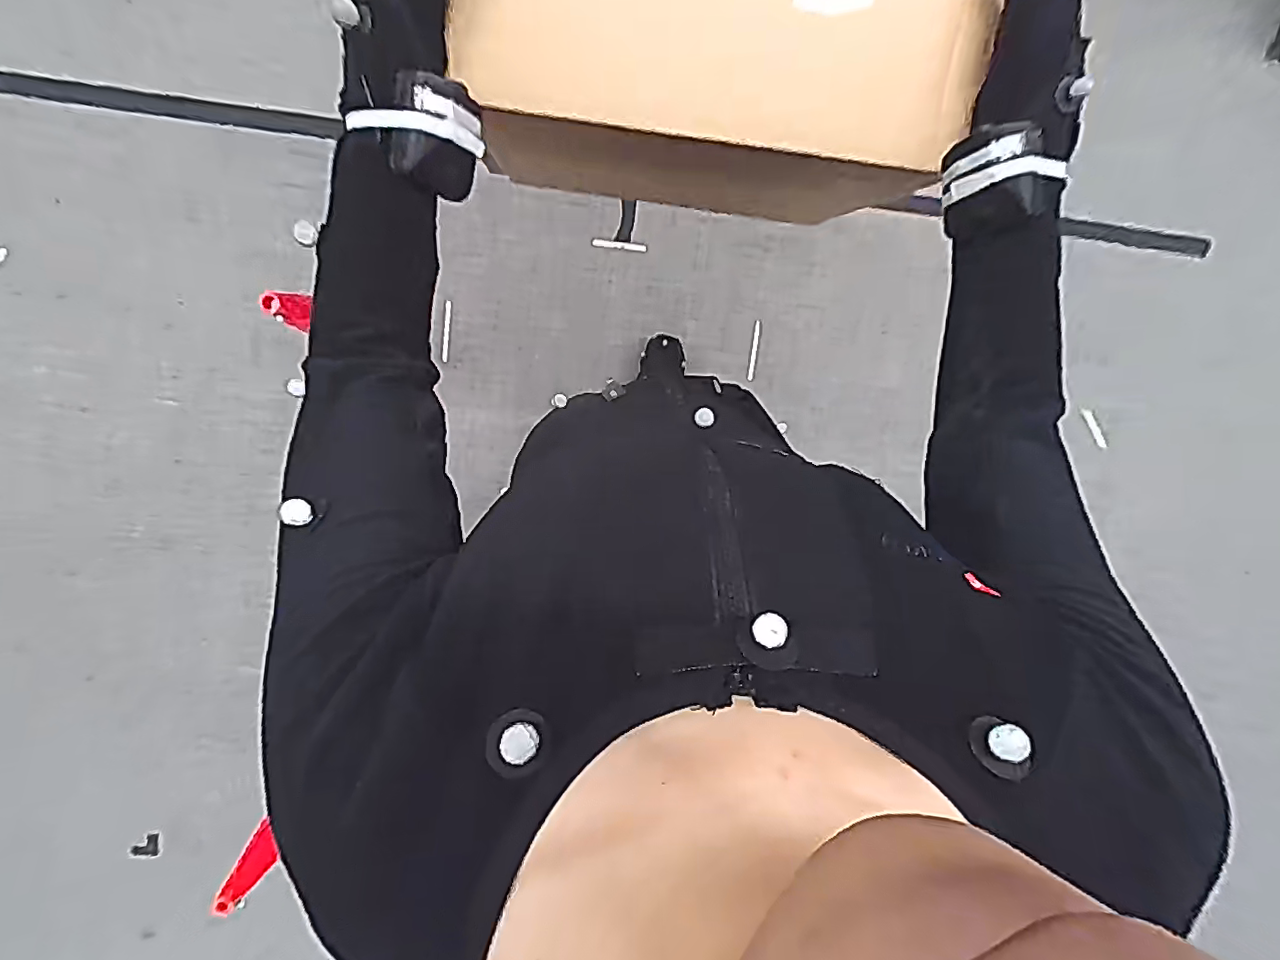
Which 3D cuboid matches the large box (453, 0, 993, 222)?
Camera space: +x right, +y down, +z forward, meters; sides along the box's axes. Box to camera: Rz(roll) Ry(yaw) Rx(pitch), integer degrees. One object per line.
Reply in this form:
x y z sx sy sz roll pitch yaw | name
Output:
0.058 -0.454 0.514 0.408 0.320 0.320 4 108 -7 | large box
